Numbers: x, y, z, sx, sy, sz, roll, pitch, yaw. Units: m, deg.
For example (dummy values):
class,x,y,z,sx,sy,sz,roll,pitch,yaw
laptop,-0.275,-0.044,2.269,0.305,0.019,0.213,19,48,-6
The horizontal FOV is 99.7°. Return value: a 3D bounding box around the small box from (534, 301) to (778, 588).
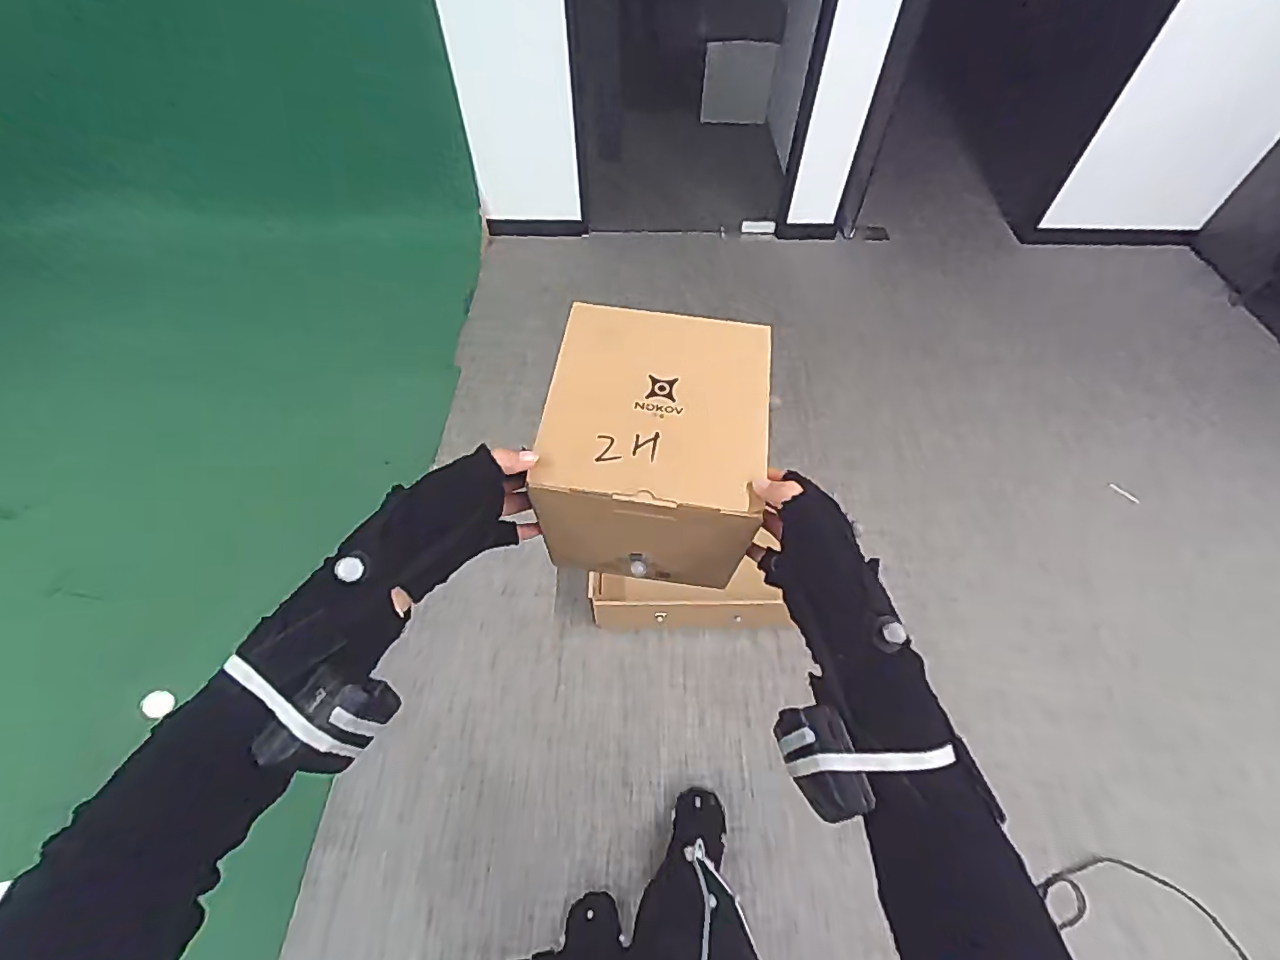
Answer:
class,x,y,z,sx,sy,sz,roll,pitch,yaw
small box,0.017,-0.023,0.474,0.168,0.176,0.179,8,62,3
